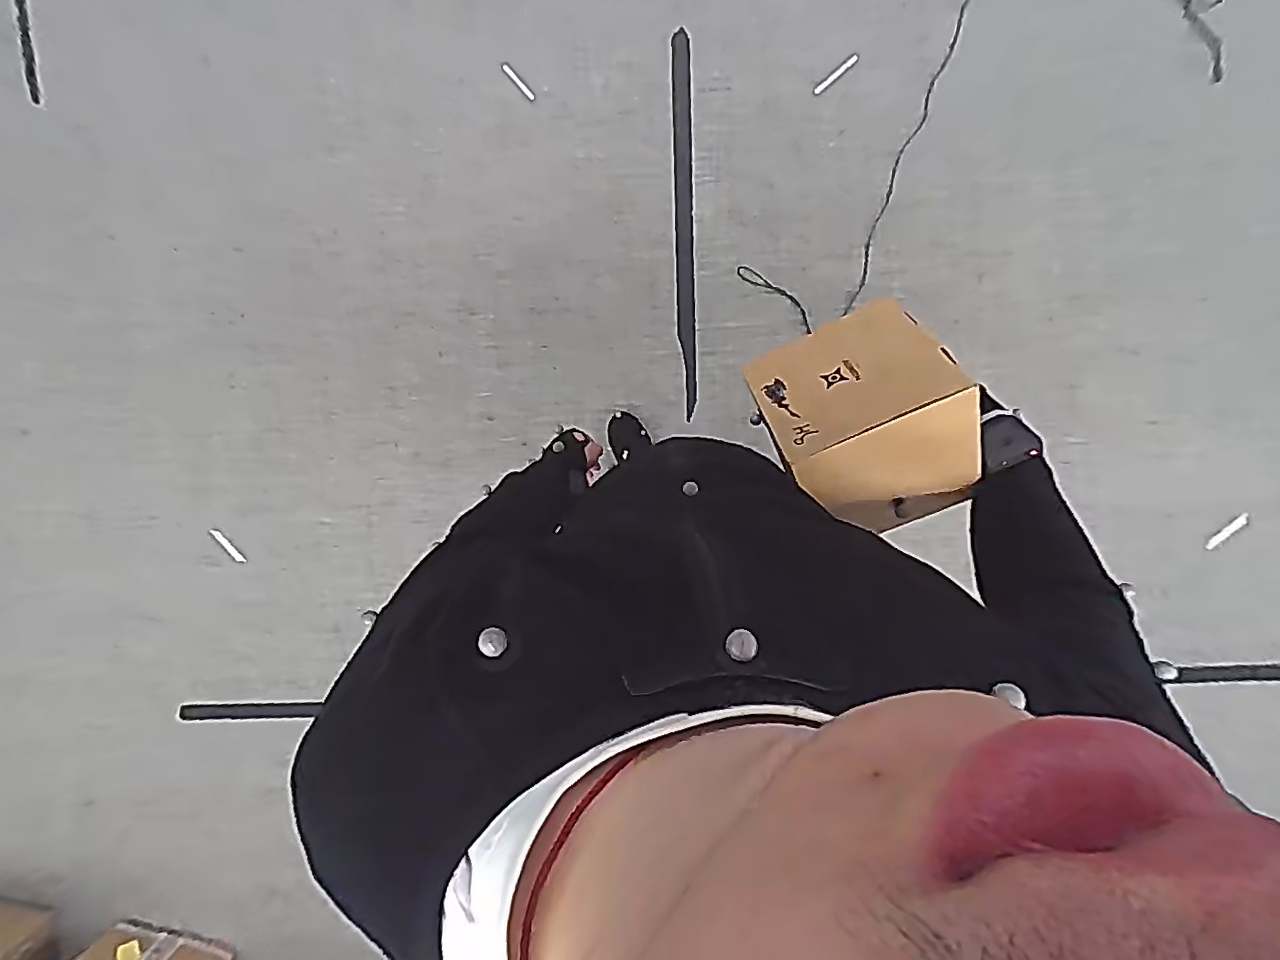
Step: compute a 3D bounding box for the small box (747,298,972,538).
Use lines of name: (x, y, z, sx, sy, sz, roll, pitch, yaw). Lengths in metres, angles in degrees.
small box: (0.246, -0.065, 0.615, 0.179, 0.168, 0.176, -24, 133, 13)
